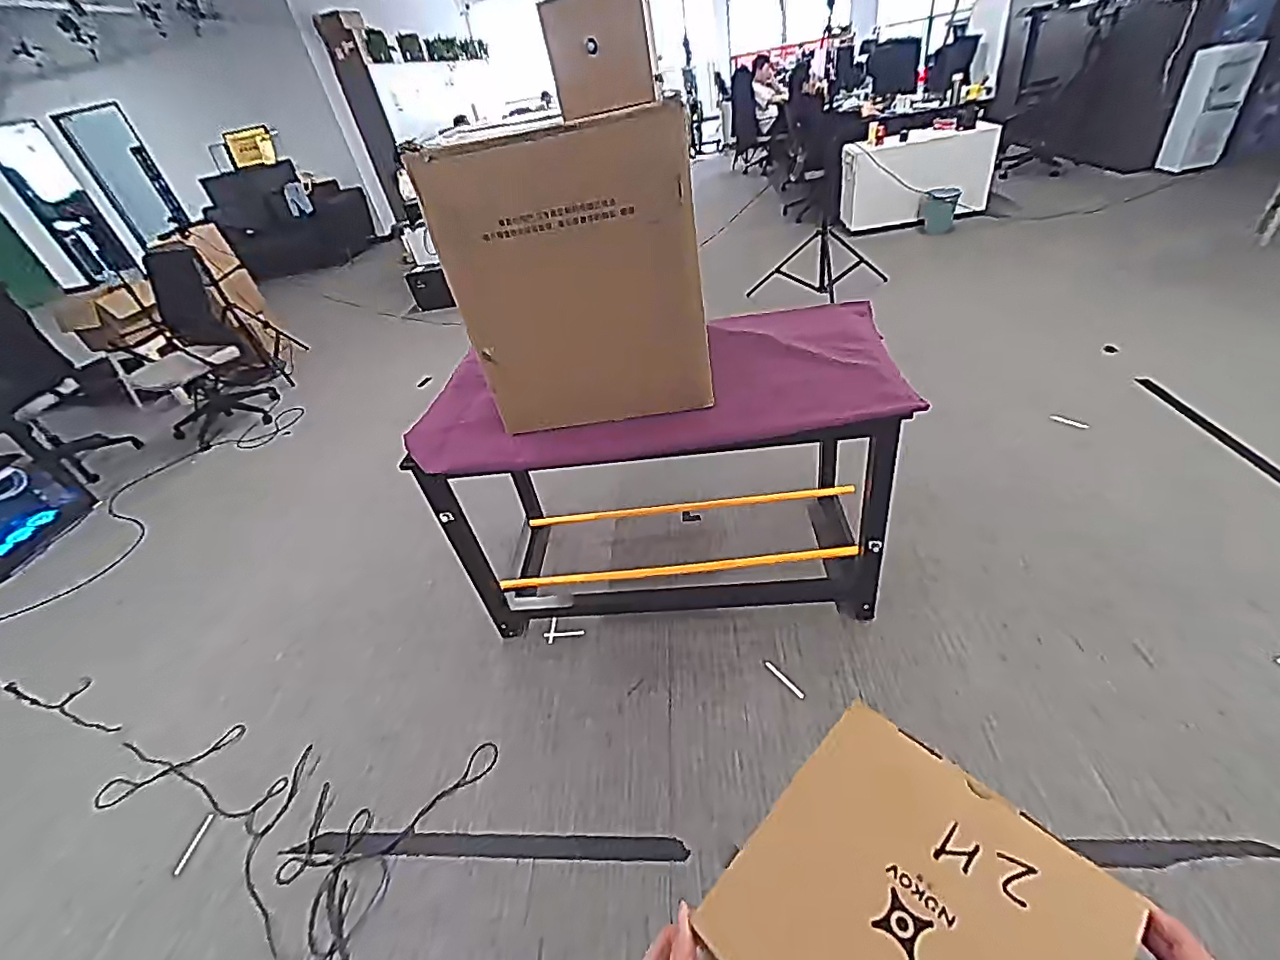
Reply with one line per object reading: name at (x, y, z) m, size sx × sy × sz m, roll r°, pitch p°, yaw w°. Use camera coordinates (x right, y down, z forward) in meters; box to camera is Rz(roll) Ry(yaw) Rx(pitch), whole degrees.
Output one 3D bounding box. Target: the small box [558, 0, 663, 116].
small box at (-0.053, -0.868, 1.113) m, size 0.179 × 0.176 × 0.168 m, roll -7°, pitch 37°, yaw 7°
